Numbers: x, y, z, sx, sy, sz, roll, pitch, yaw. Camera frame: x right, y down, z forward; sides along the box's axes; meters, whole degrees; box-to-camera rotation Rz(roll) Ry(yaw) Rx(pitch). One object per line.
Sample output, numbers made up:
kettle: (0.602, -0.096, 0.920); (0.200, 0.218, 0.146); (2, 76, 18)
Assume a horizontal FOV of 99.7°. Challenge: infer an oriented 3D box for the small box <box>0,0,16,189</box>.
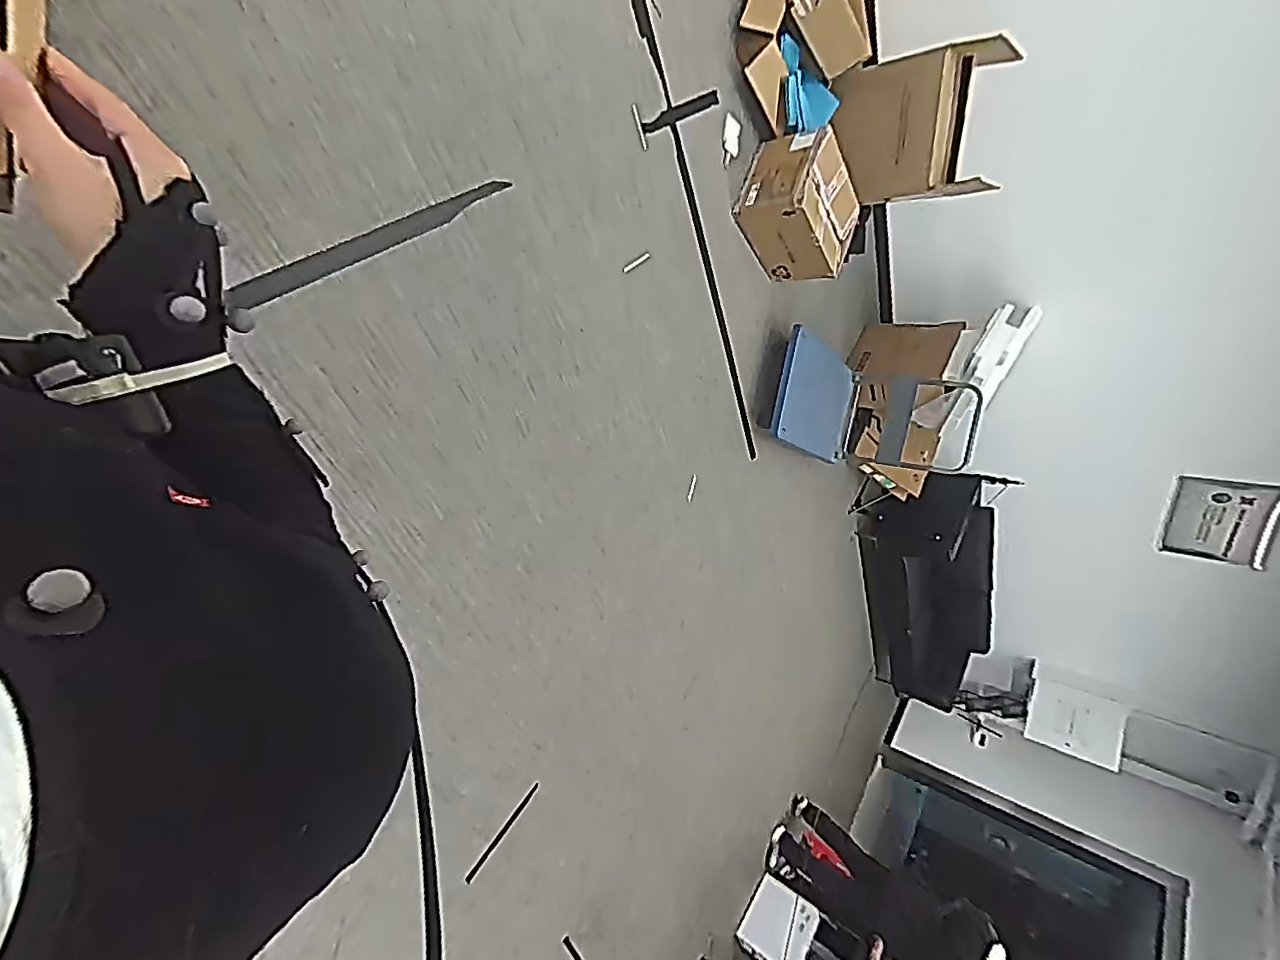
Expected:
small box: (-0.430, -0.253, 0.255); (0.179, 0.176, 0.168); (-1, 103, -48)
